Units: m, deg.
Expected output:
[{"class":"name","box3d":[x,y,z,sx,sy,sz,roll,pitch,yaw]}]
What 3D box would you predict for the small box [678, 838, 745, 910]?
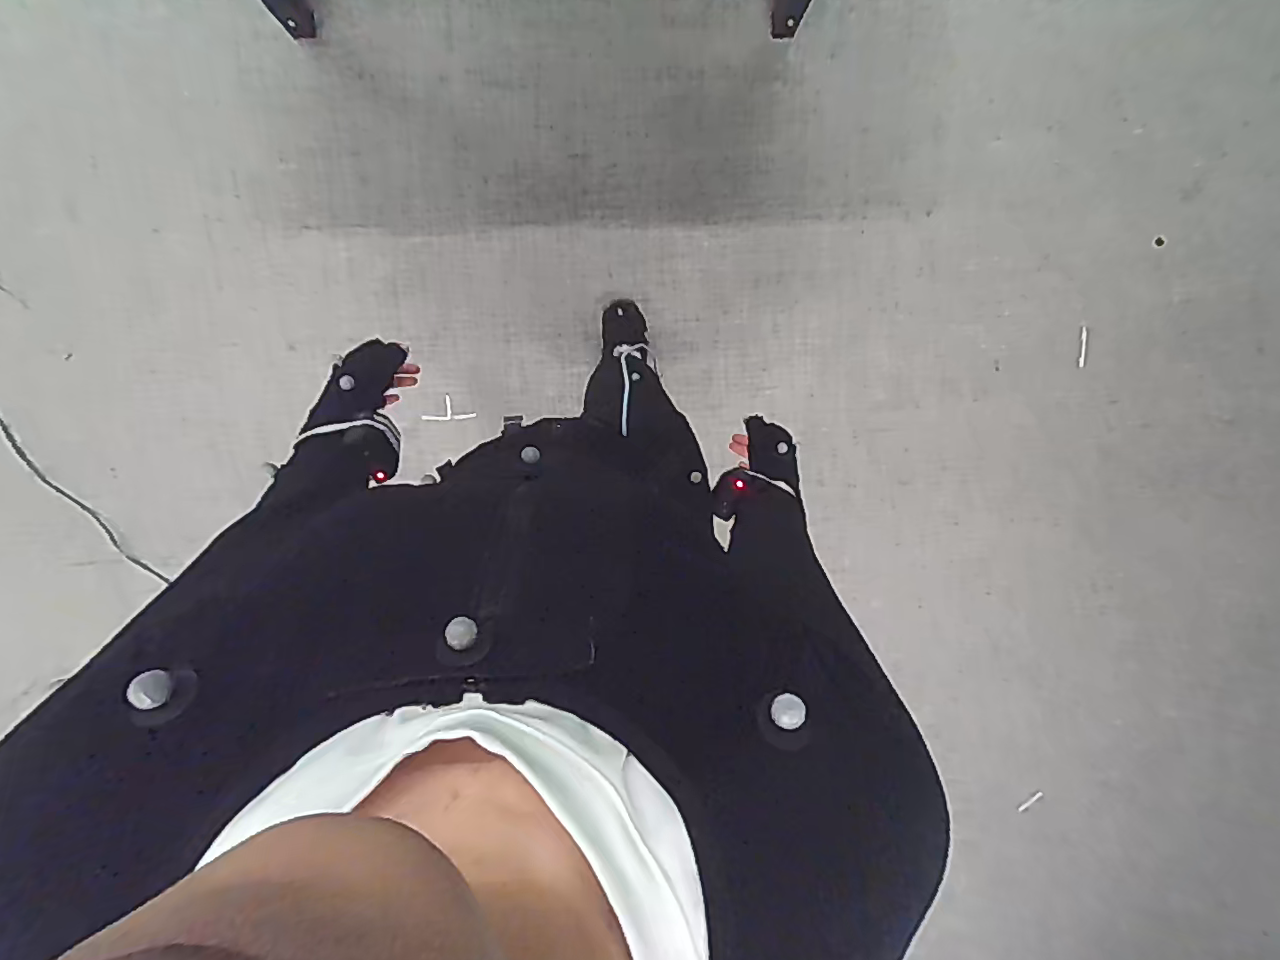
[{"class":"small box","box3d":[0.209,1.199,1.593,0.179,0.176,0.168,-8,100,-3]}]
